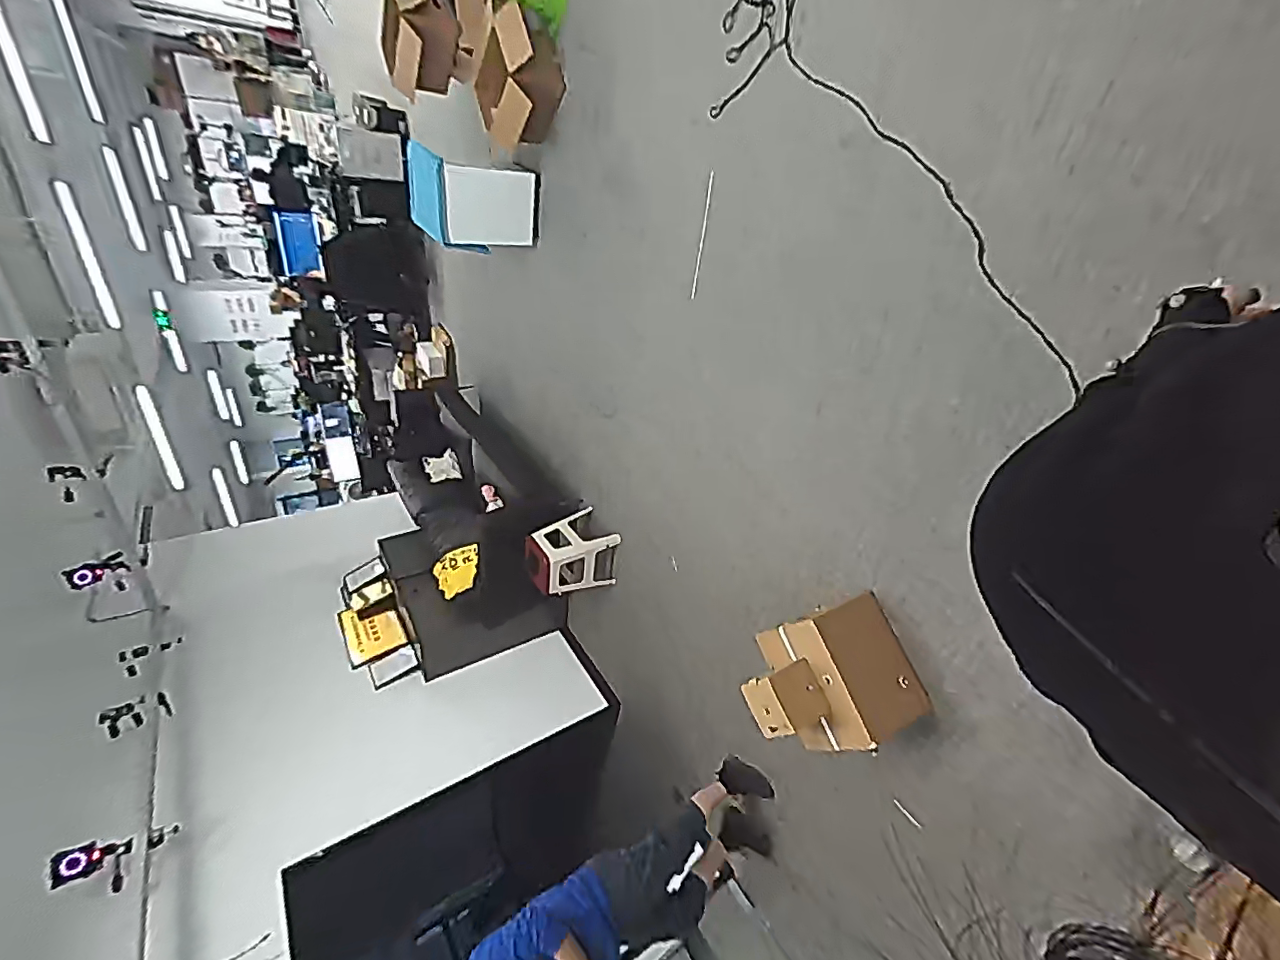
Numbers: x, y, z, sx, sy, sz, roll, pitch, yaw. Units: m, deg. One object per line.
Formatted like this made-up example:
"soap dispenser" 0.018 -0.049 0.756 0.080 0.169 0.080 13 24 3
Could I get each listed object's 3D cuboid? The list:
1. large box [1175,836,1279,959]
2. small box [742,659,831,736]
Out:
"large box" 1.308 1.000 1.010 0.408 0.320 0.320 25 124 50
"small box" 0.467 0.689 1.727 0.179 0.176 0.168 65 148 19
